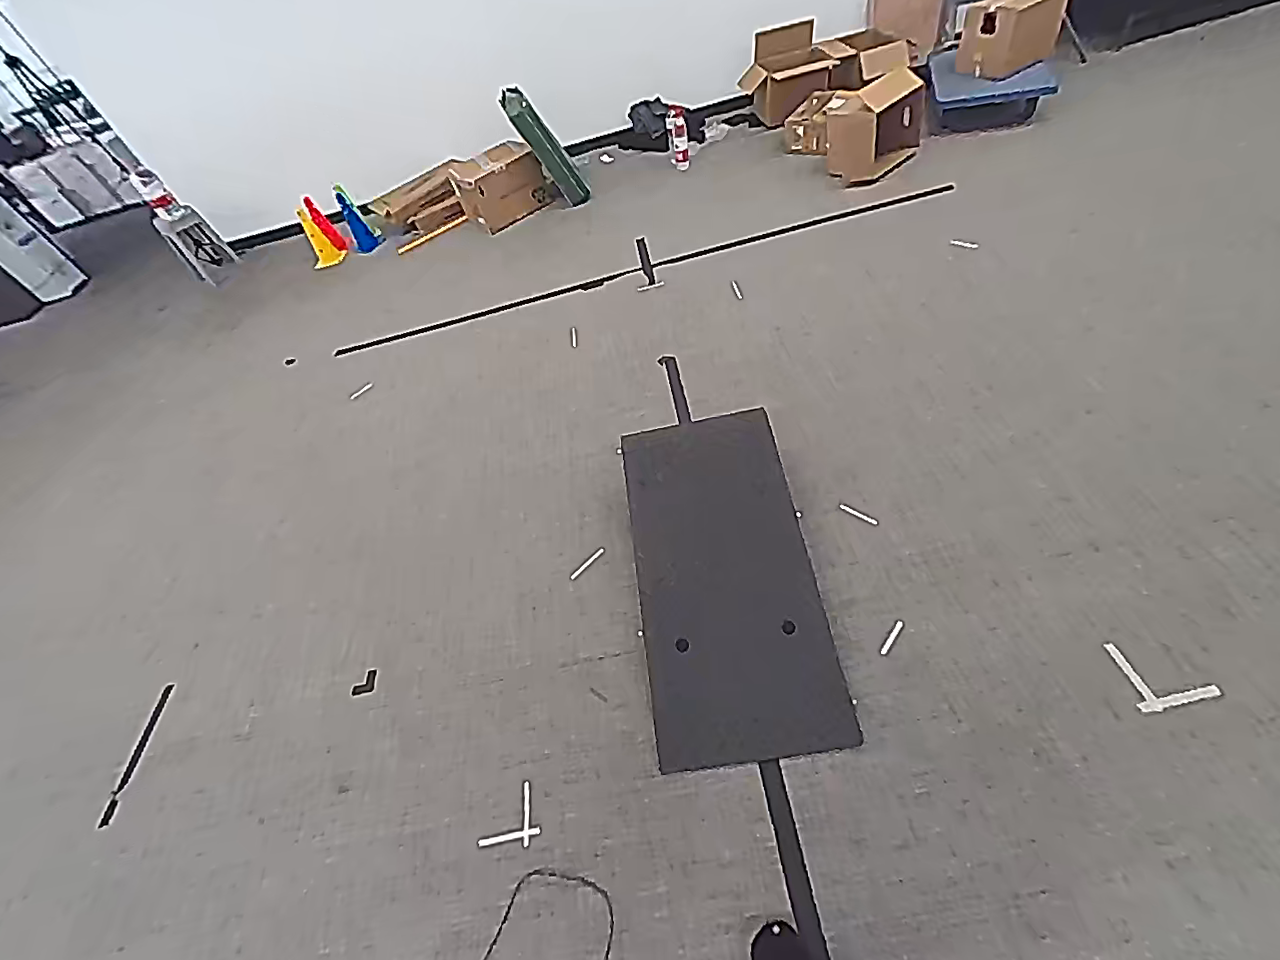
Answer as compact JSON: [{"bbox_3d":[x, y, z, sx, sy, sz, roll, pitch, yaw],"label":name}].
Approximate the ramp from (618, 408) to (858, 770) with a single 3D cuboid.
[{"bbox_3d":[0.225,0.238,1.548,0.509,0.206,0.991,-12,50,4],"label":"ramp"}]
